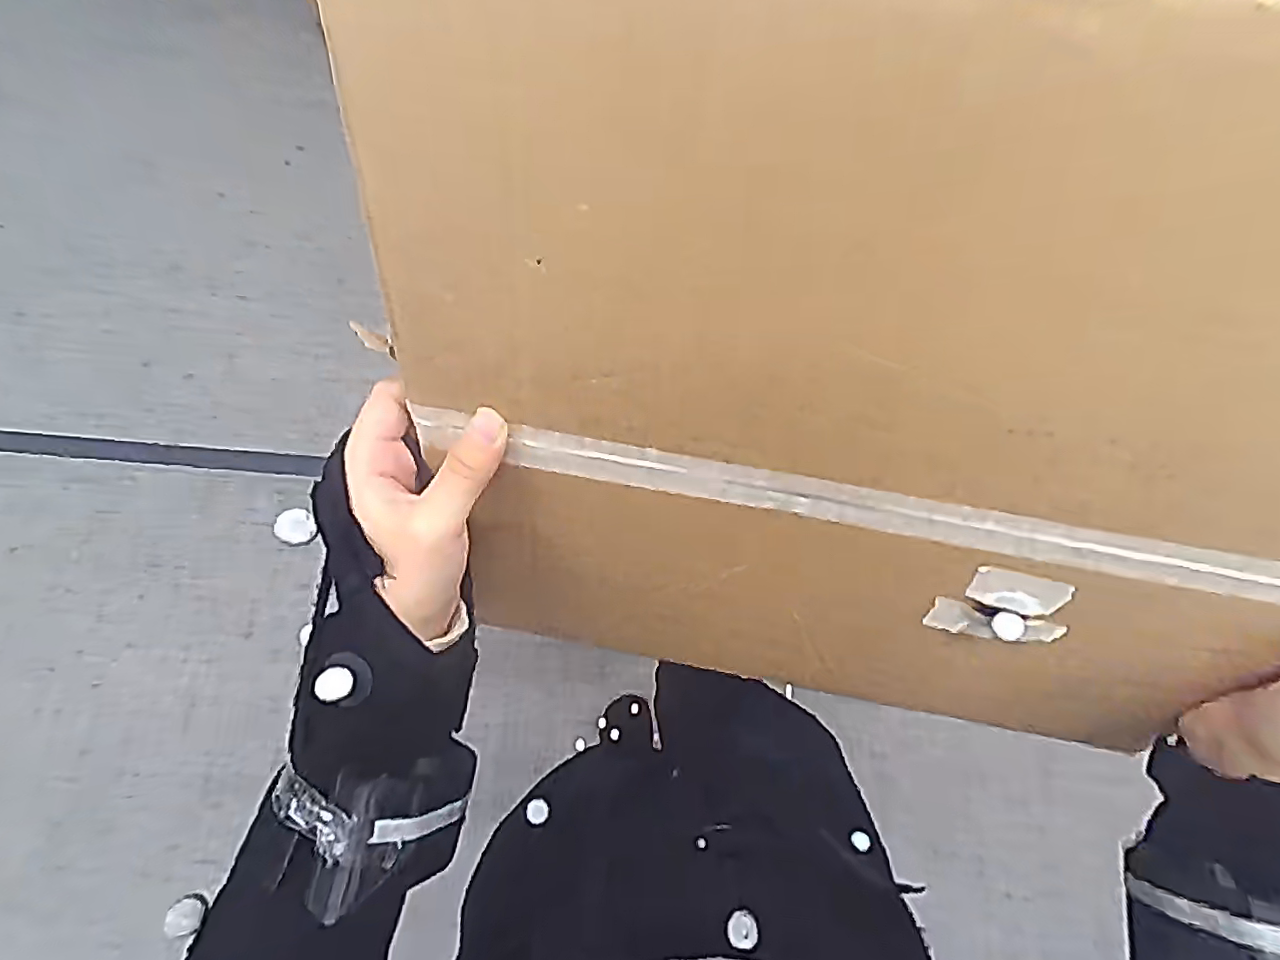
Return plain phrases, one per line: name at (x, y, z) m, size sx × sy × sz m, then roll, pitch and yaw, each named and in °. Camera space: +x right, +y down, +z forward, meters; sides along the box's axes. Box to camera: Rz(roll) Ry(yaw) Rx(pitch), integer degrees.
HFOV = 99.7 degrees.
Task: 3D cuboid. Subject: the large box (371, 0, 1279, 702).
large box at (0.131, -0.113, 0.327) m, size 0.408 × 0.320 × 0.320 m, roll 9°, pitch 43°, yaw 2°
